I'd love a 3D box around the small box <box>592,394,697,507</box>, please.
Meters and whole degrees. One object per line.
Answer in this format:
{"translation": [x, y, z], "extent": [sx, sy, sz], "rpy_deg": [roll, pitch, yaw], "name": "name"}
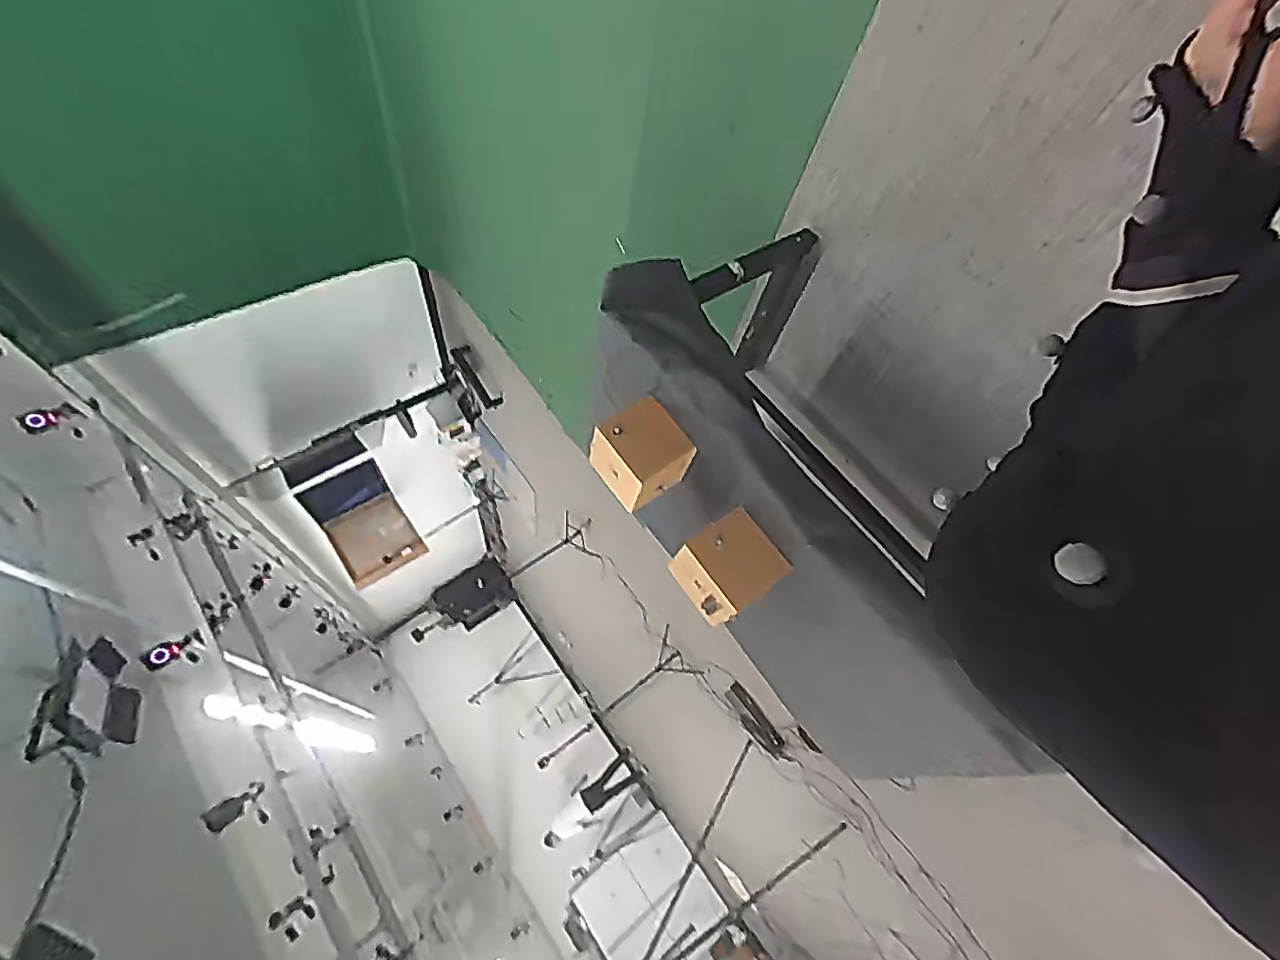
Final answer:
{"translation": [0.008, -0.072, 1.278], "extent": [0.179, 0.176, 0.168], "rpy_deg": [51, 156, 15], "name": "small box"}
